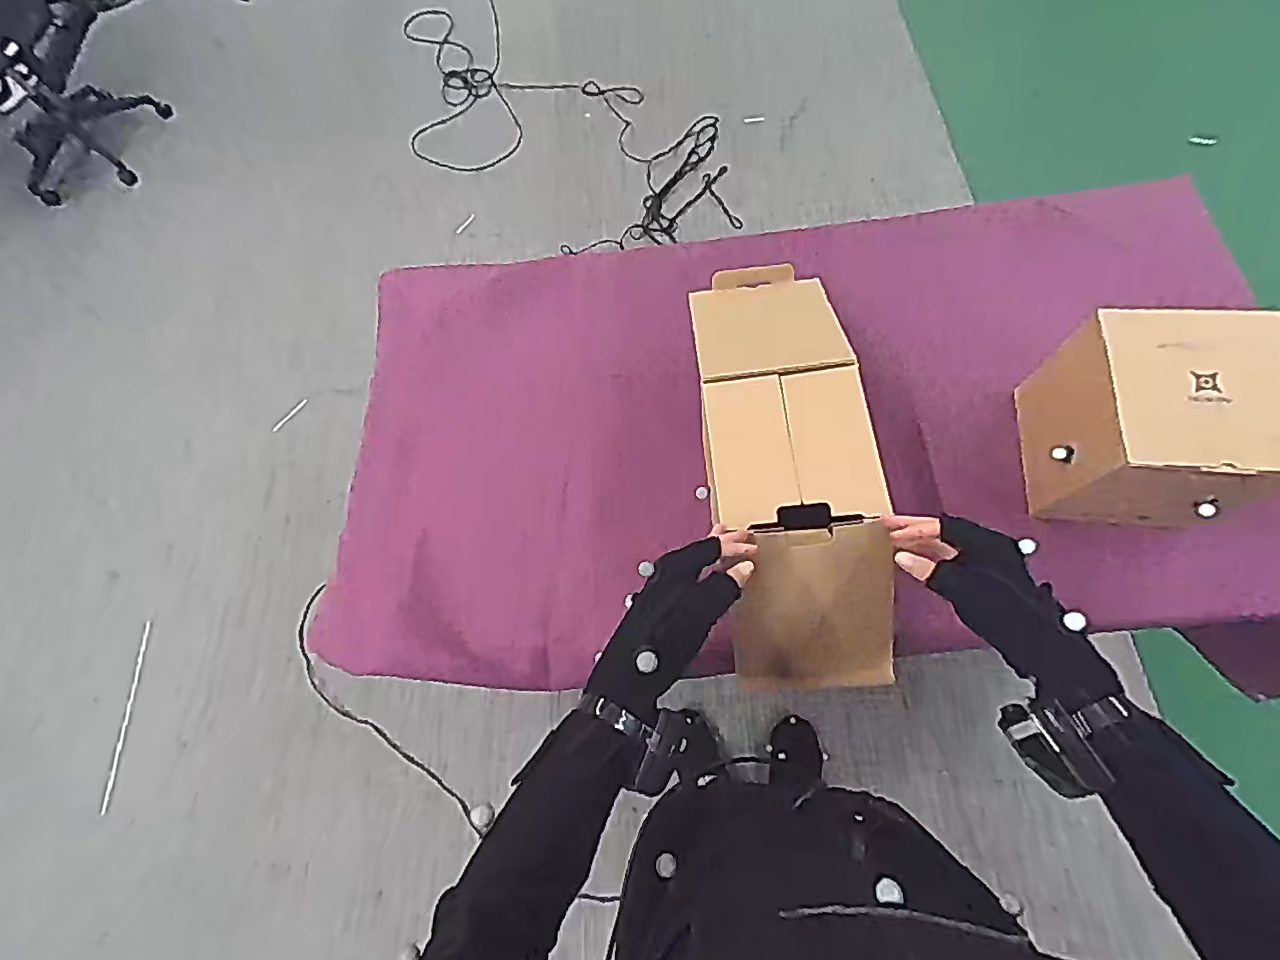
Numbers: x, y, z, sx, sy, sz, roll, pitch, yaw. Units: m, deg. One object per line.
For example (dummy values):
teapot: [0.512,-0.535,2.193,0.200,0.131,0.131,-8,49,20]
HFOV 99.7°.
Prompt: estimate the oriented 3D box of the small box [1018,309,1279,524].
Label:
small box: [0.544,-0.060,0.583,0.168,0.176,0.179,4,70,10]
